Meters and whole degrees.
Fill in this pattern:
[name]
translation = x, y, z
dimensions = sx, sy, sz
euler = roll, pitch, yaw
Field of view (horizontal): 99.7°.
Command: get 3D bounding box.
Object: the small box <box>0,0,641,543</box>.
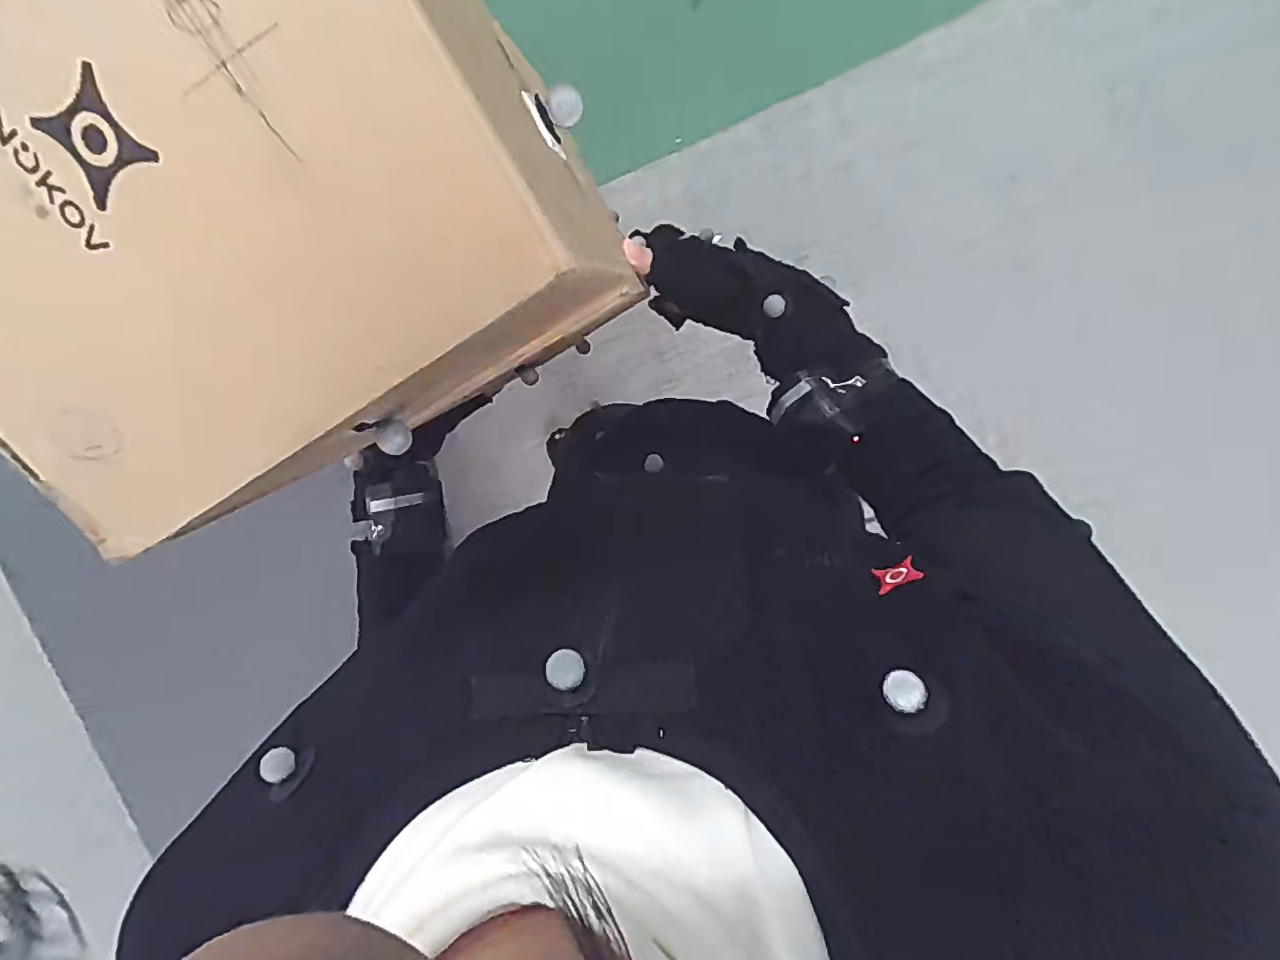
[small box]
translation = -0.114, -0.109, 0.210
dimensions = 0.179, 0.176, 0.168
euler = -27, 107, 14
